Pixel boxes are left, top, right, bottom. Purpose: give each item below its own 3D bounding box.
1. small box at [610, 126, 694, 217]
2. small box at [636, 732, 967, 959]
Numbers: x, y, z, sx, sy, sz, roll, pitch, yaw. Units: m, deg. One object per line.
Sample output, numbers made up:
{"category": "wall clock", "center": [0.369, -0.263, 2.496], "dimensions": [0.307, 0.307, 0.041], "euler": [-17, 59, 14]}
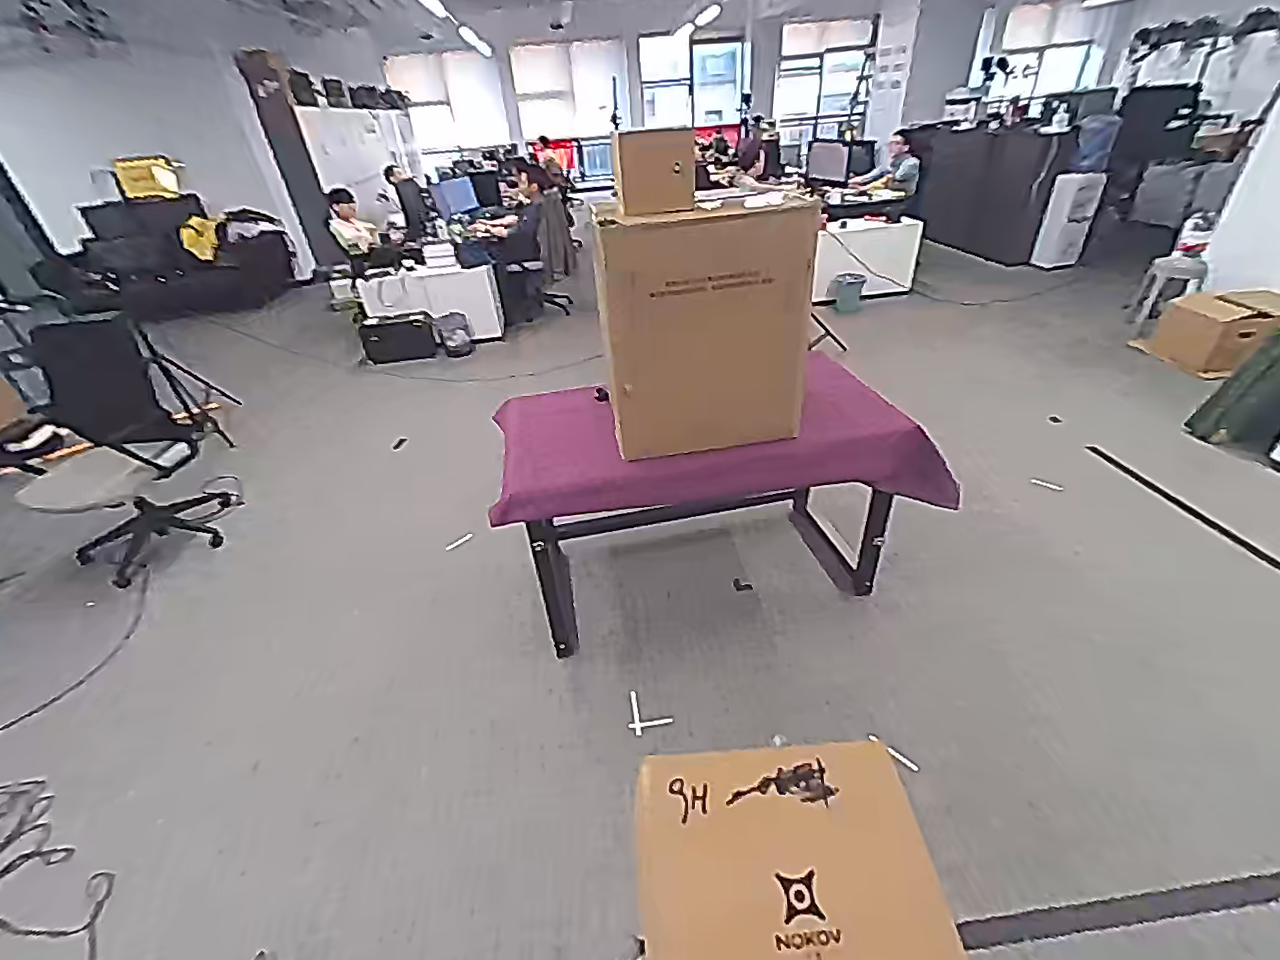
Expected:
{"category": "small box", "center": [0.027, -0.741, 1.298], "dimensions": [0.179, 0.176, 0.168], "euler": [-9, 34, -5]}
{"category": "small box", "center": [0.085, 0.285, 0.351], "dimensions": [0.168, 0.176, 0.179], "euler": [-2, 47, -4]}
